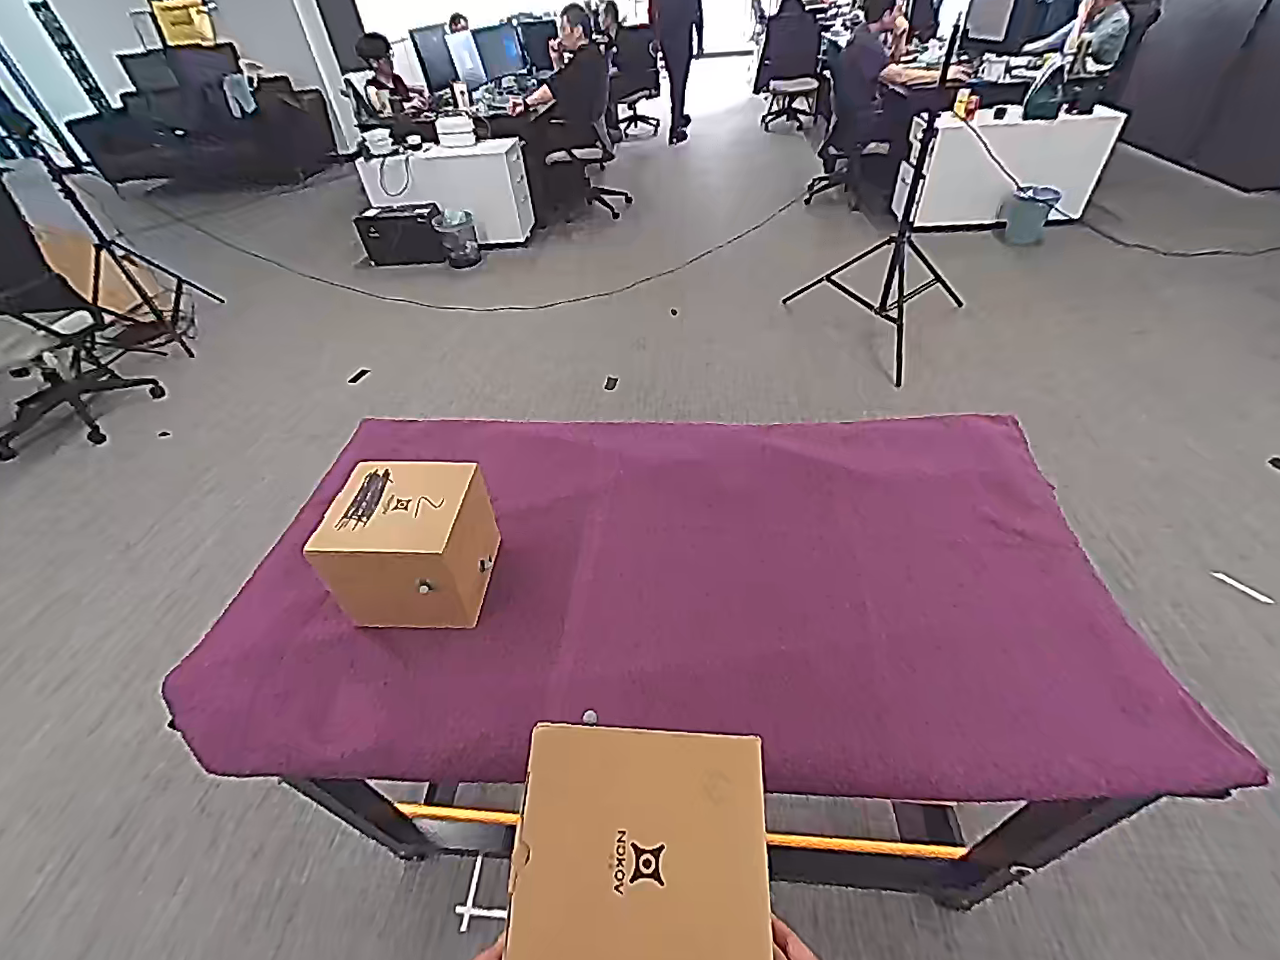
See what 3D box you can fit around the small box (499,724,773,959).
[{"bbox_3d":[0.002,0.300,0.435,0.179,0.176,0.168,1,58,4],"label":"small box"}]
